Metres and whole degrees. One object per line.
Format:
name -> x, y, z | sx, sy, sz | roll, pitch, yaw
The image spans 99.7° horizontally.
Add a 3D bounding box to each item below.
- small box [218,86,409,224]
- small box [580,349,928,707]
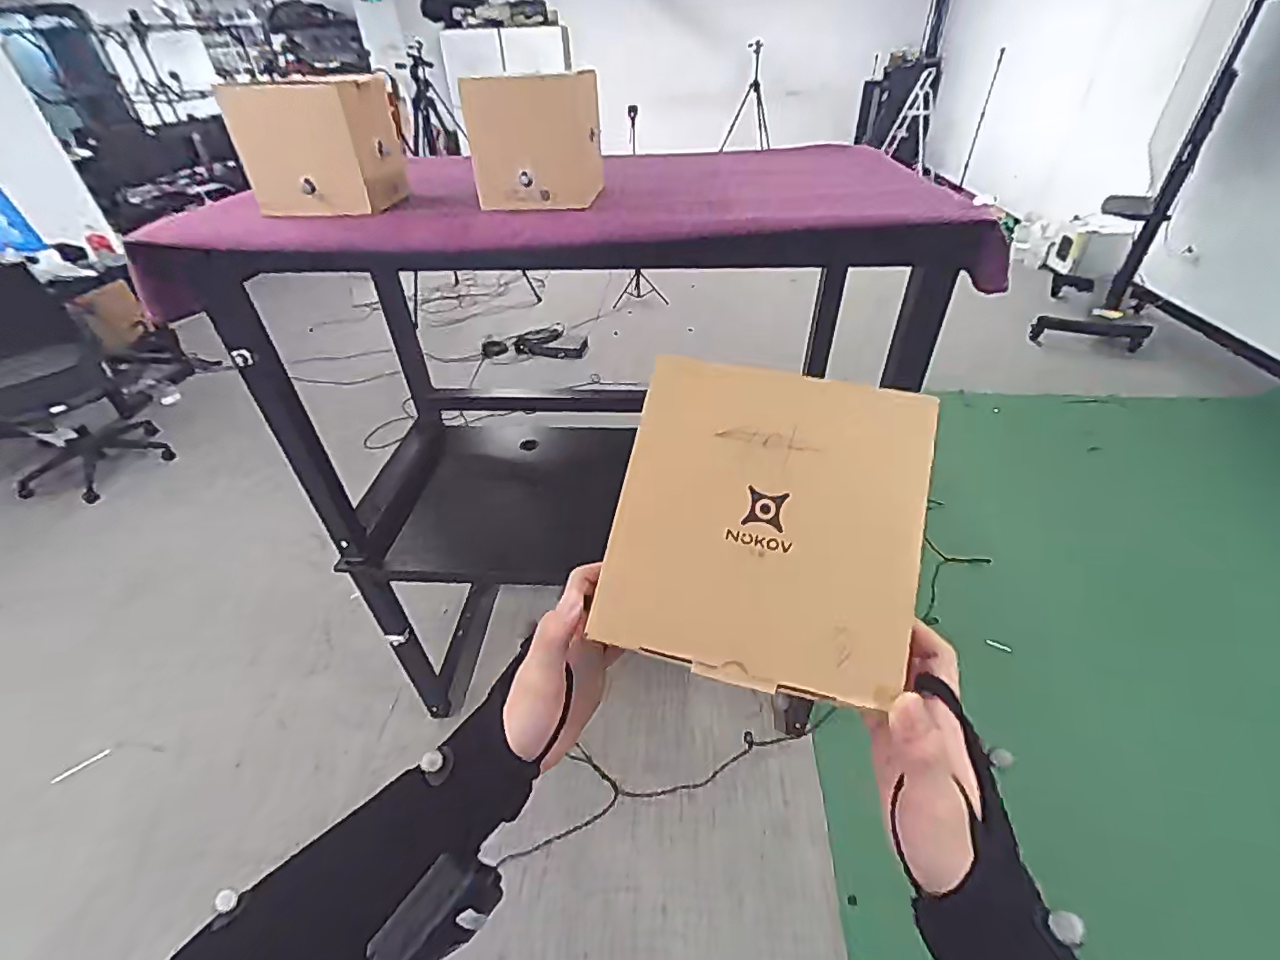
small box -> -0.489, -0.510, 0.848 | 0.179, 0.176, 0.168 | 0, 37, 2
small box -> 0.076, 0.036, 0.377 | 0.168, 0.176, 0.179 | 12, 76, 11
